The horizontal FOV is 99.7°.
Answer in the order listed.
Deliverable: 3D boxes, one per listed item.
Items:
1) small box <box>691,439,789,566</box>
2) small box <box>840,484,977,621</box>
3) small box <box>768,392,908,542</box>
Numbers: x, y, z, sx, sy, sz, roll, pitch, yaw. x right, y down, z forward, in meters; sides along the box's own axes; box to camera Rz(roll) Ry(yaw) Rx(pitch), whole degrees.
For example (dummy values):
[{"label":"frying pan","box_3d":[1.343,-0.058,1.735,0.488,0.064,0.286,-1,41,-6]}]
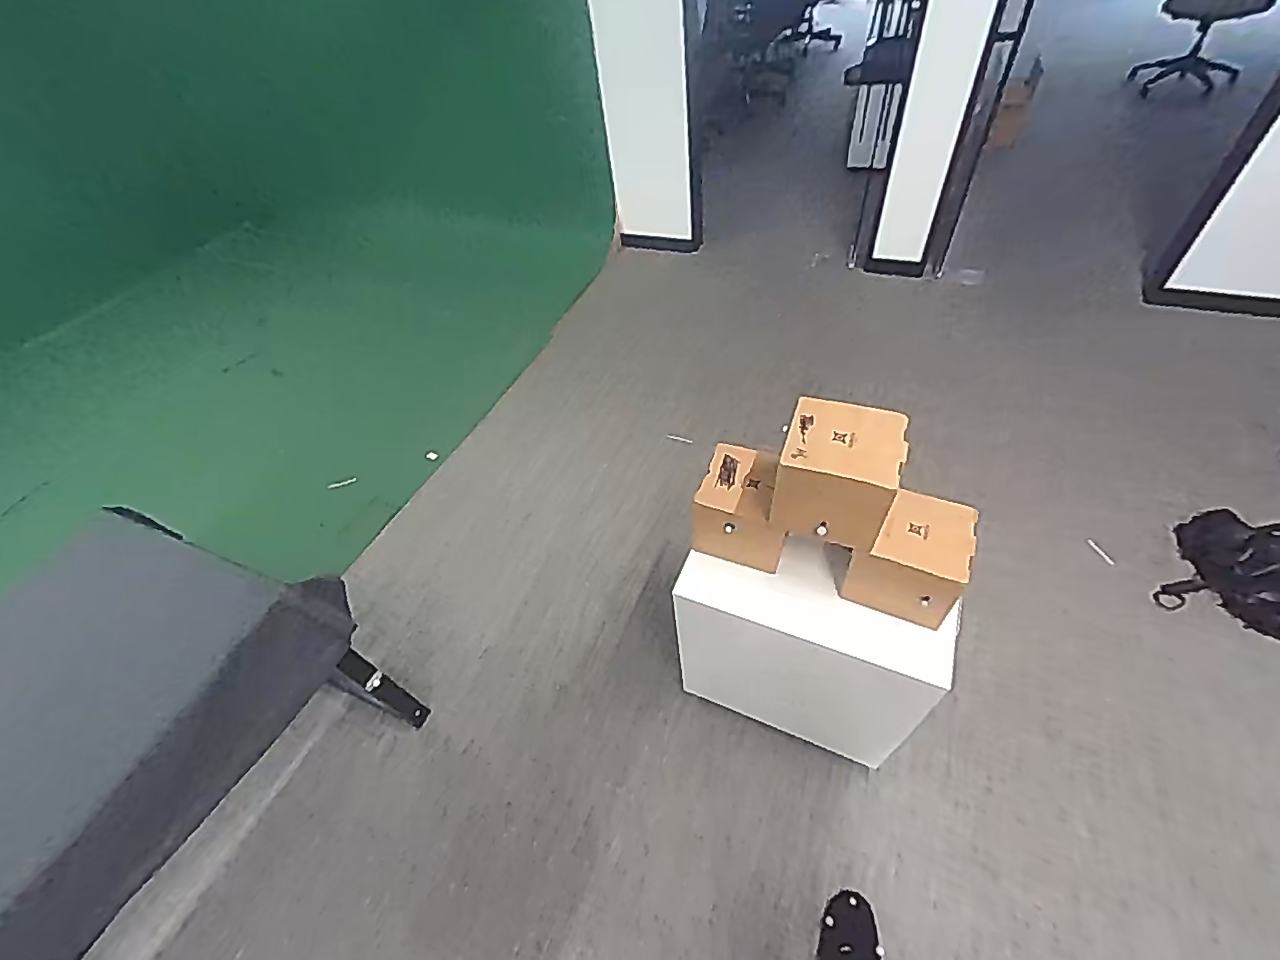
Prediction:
[{"label":"small box","box_3d":[0.211,0.048,1.082,0.179,0.176,0.168,16,54,18]},{"label":"small box","box_3d":[0.479,0.131,0.979,0.179,0.176,0.168,16,53,22]},{"label":"small box","box_3d":[0.327,-0.017,0.909,0.179,0.176,0.168,15,53,17]}]
